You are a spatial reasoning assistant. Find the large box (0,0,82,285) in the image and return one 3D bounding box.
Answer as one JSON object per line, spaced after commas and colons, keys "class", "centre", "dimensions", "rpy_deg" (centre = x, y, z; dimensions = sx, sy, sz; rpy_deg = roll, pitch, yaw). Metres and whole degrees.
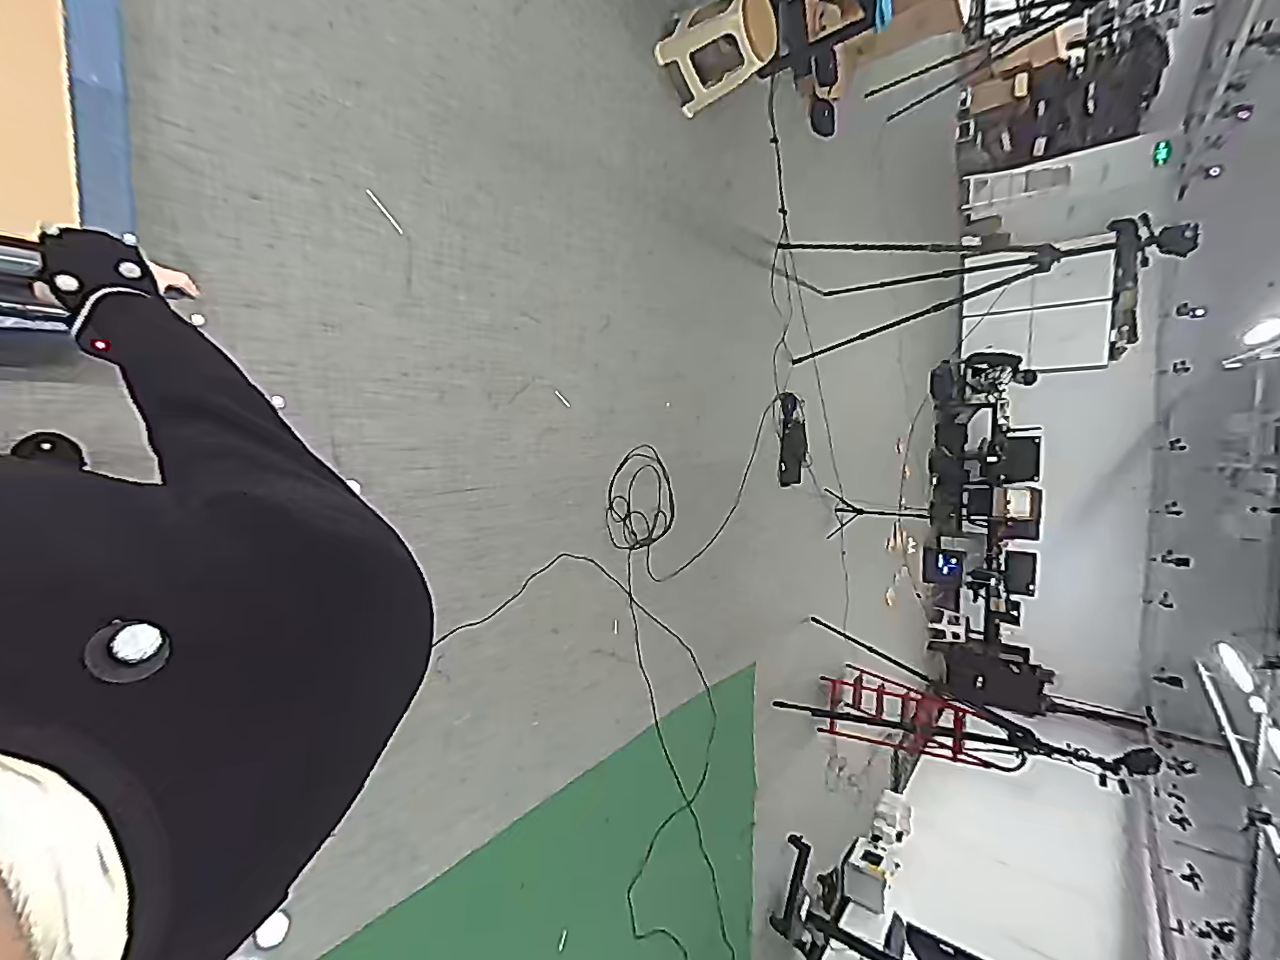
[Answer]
{"class": "large box", "centre": [-1.078, -0.542, 0.793], "dimensions": [0.320, 0.320, 0.408], "rpy_deg": [-7, 97, -50]}
